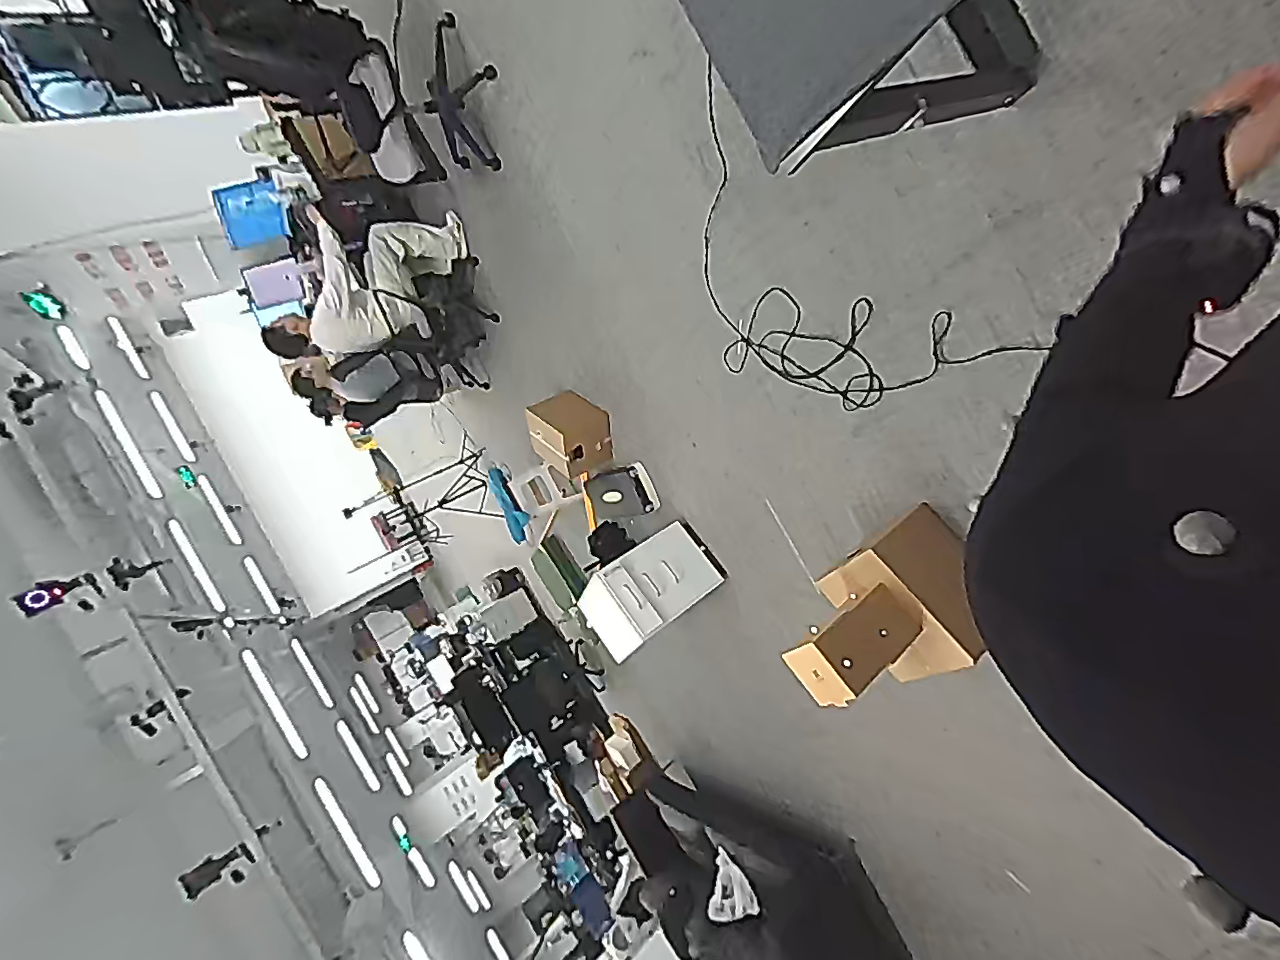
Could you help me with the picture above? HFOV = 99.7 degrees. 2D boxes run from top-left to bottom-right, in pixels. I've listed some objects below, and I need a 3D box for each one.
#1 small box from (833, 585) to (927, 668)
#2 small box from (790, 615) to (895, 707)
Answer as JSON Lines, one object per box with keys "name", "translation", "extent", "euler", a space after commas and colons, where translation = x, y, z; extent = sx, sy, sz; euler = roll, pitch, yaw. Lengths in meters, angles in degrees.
{"name": "small box", "translation": [0.697, 0.441, 1.589], "extent": [0.179, 0.176, 0.168], "euler": [52, 149, 15]}
{"name": "small box", "translation": [0.565, 0.499, 1.512], "extent": [0.179, 0.176, 0.168], "euler": [52, 149, 14]}
